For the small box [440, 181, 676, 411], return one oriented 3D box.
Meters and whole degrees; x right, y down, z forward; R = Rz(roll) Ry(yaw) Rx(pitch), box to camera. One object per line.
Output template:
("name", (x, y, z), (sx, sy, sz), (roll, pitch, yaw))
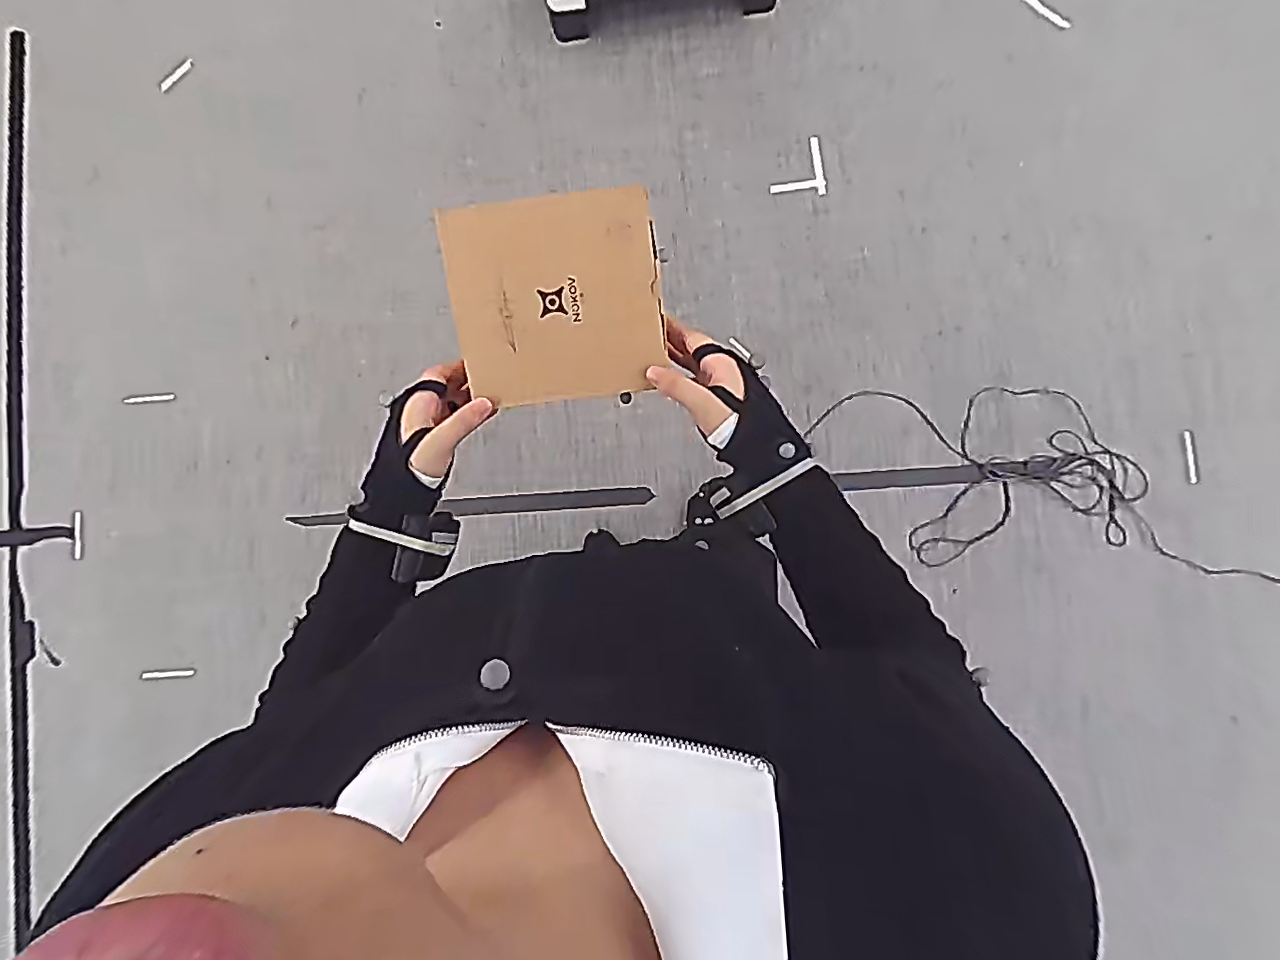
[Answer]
("small box", (-0.065, -0.166, 0.525), (0.179, 0.176, 0.168), (-8, 102, 3))
